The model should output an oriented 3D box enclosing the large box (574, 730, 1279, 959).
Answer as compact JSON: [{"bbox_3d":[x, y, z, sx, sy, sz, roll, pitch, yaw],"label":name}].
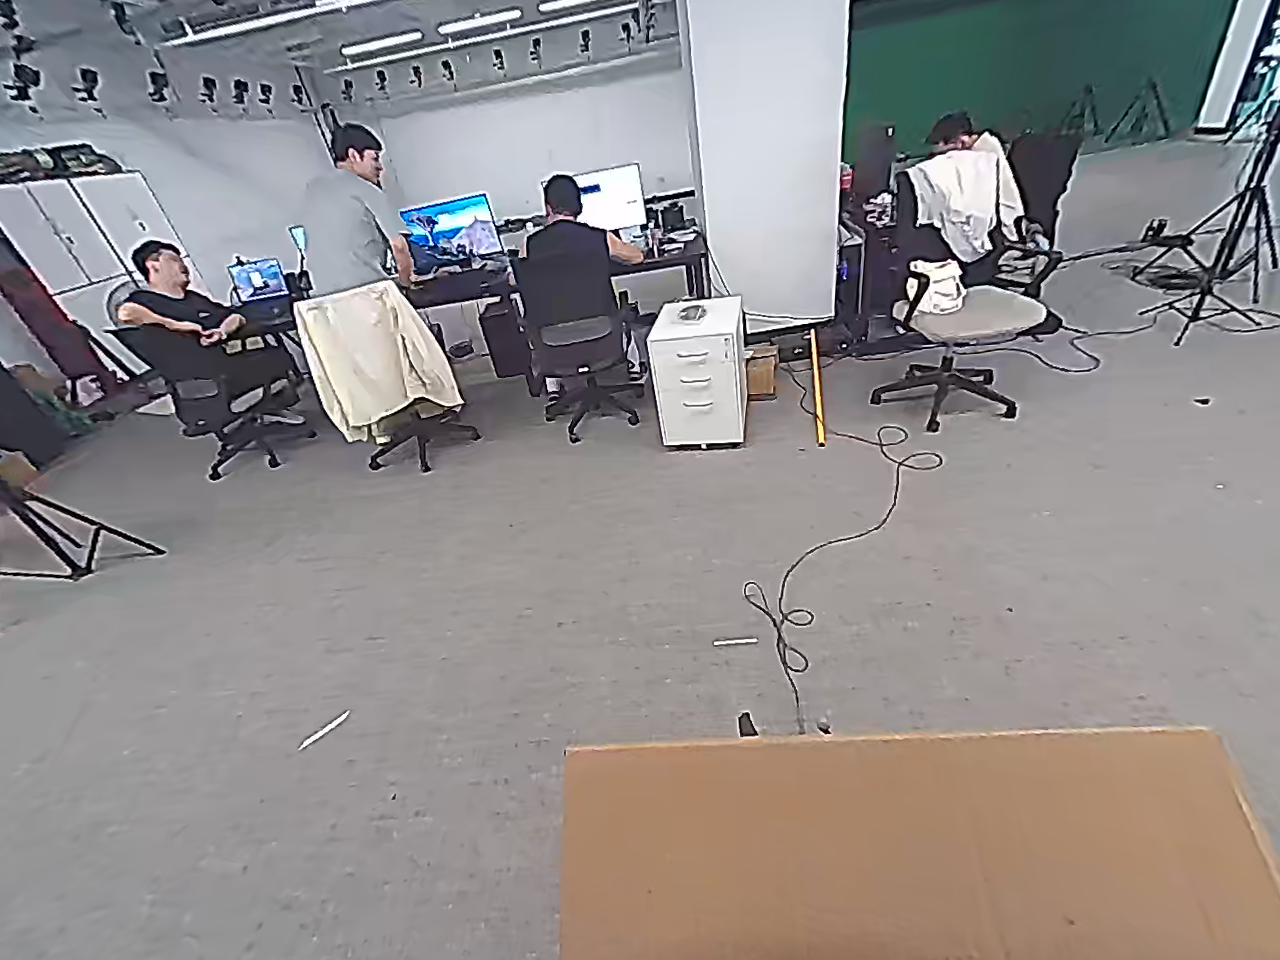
[{"bbox_3d":[0.181,0.380,0.430,0.408,0.320,0.320,-6,64,7],"label":"large box"}]
